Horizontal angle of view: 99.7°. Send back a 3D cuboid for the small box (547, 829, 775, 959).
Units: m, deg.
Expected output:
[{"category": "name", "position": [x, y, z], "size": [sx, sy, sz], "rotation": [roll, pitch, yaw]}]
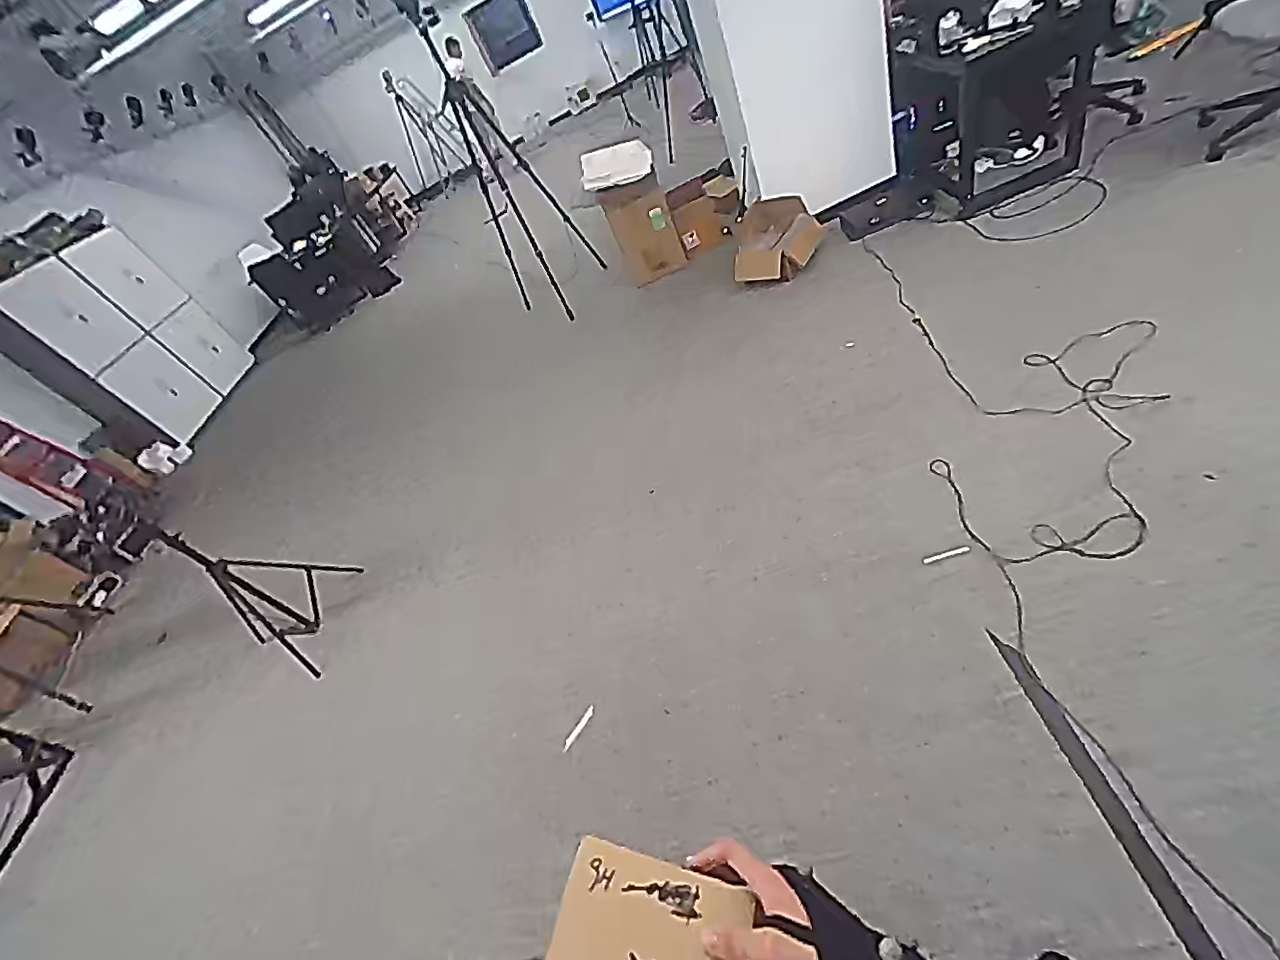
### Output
[{"category": "small box", "position": [0.022, 0.453, 0.487], "size": [0.168, 0.176, 0.179], "rotation": [3, 50, 24]}]
